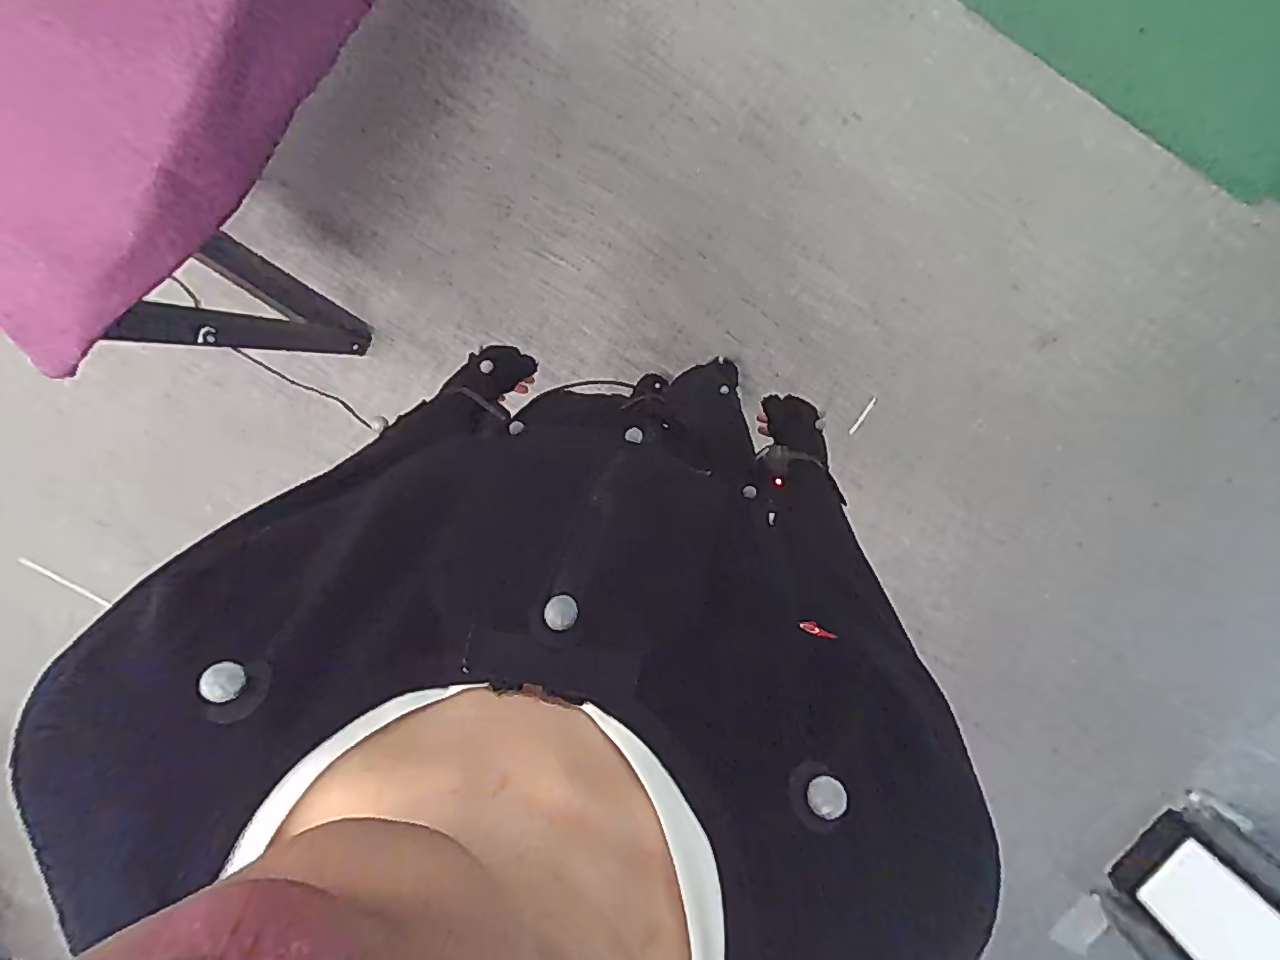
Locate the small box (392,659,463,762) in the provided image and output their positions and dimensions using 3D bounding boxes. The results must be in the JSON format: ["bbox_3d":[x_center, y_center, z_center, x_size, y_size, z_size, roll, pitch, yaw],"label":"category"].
[{"bbox_3d":[-0.631,0.650,1.543,0.168,0.176,0.179,31,101,-3],"label":"small box"}]

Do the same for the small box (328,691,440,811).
[{"bbox_3d":[-0.644,0.686,1.382,0.168,0.176,0.179,31,101,-4],"label":"small box"}]
